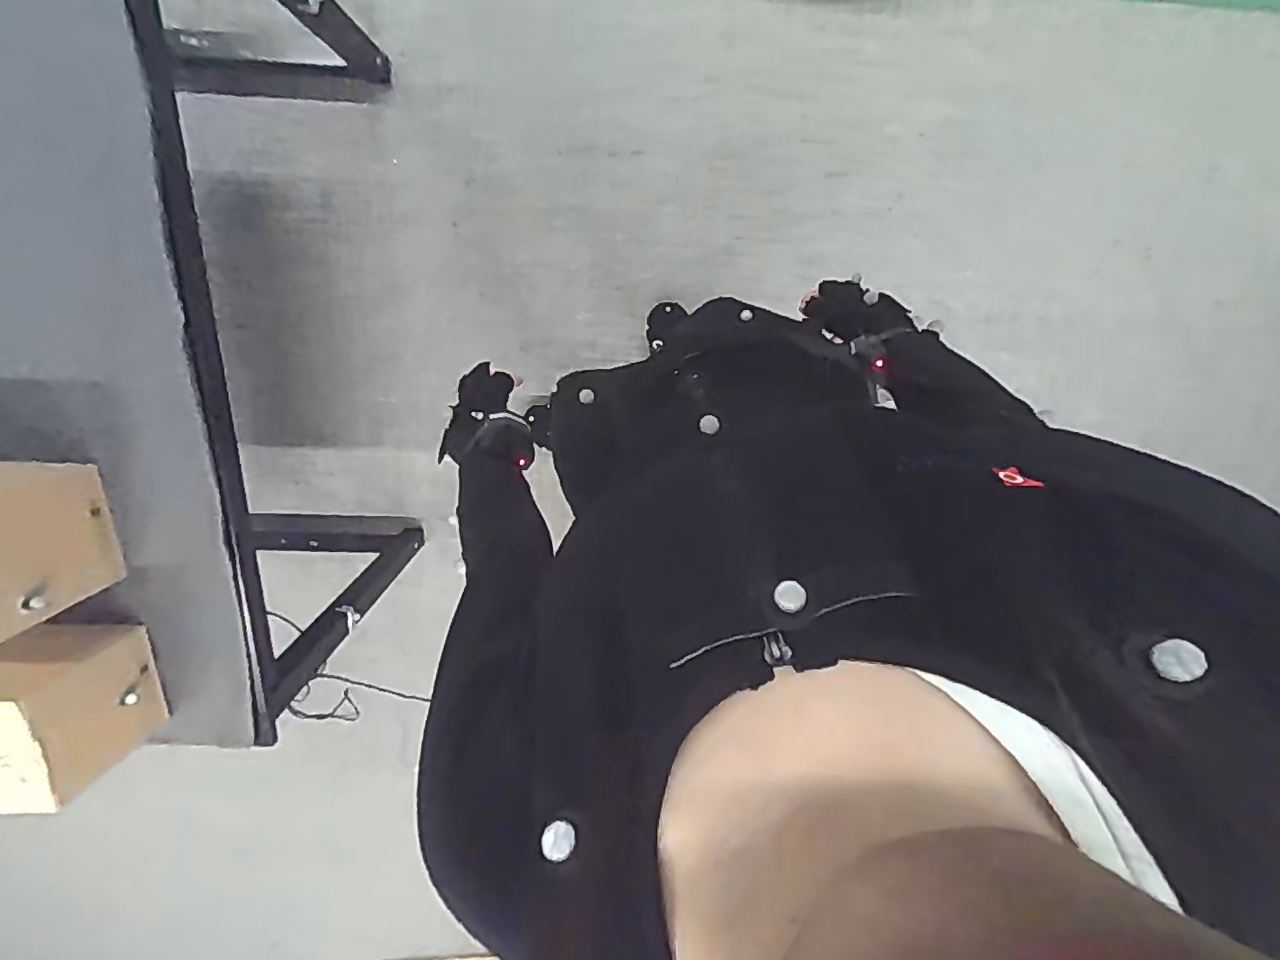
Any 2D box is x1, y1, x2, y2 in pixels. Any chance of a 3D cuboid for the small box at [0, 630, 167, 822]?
[{"bbox_3d":[-0.793,0.314,0.714,0.179,0.176,0.168,0,106,0],"label":"small box"}]
